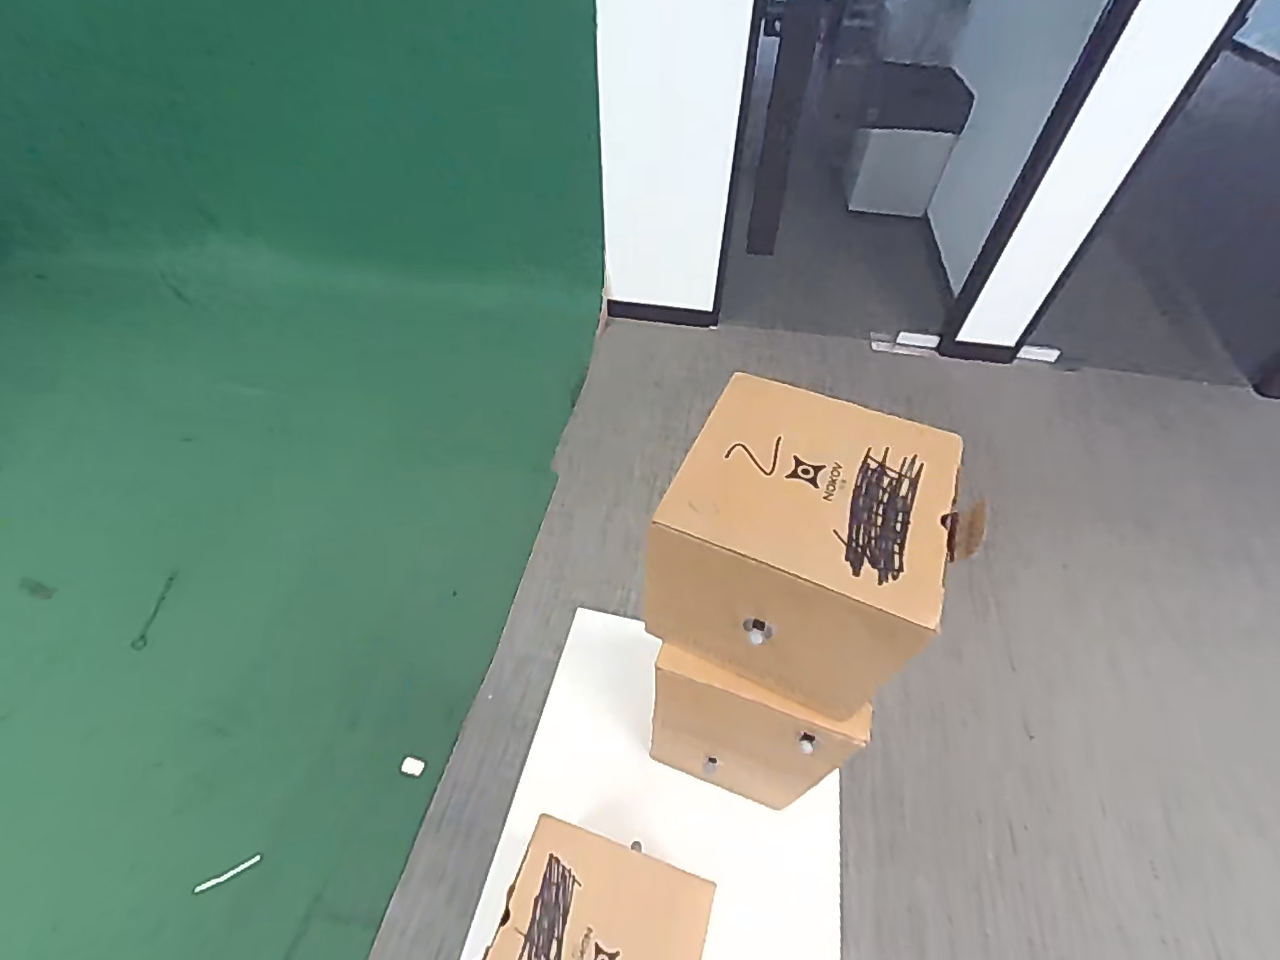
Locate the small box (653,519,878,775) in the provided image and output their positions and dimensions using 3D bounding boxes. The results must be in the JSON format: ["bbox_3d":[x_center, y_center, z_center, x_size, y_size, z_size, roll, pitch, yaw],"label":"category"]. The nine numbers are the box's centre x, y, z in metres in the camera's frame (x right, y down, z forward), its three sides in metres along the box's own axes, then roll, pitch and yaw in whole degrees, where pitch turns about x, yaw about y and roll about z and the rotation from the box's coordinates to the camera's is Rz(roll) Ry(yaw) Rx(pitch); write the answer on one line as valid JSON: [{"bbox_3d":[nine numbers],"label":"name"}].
[{"bbox_3d":[0.118,0.170,0.543,0.179,0.176,0.168,16,51,12],"label":"small box"}]

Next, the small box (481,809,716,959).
[{"bbox_3d":[-0.042,0.449,0.515,0.179,0.176,0.168,16,51,11],"label":"small box"}]

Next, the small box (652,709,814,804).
[{"bbox_3d":[0.120,0.274,0.669,0.179,0.176,0.168,16,52,13],"label":"small box"}]
